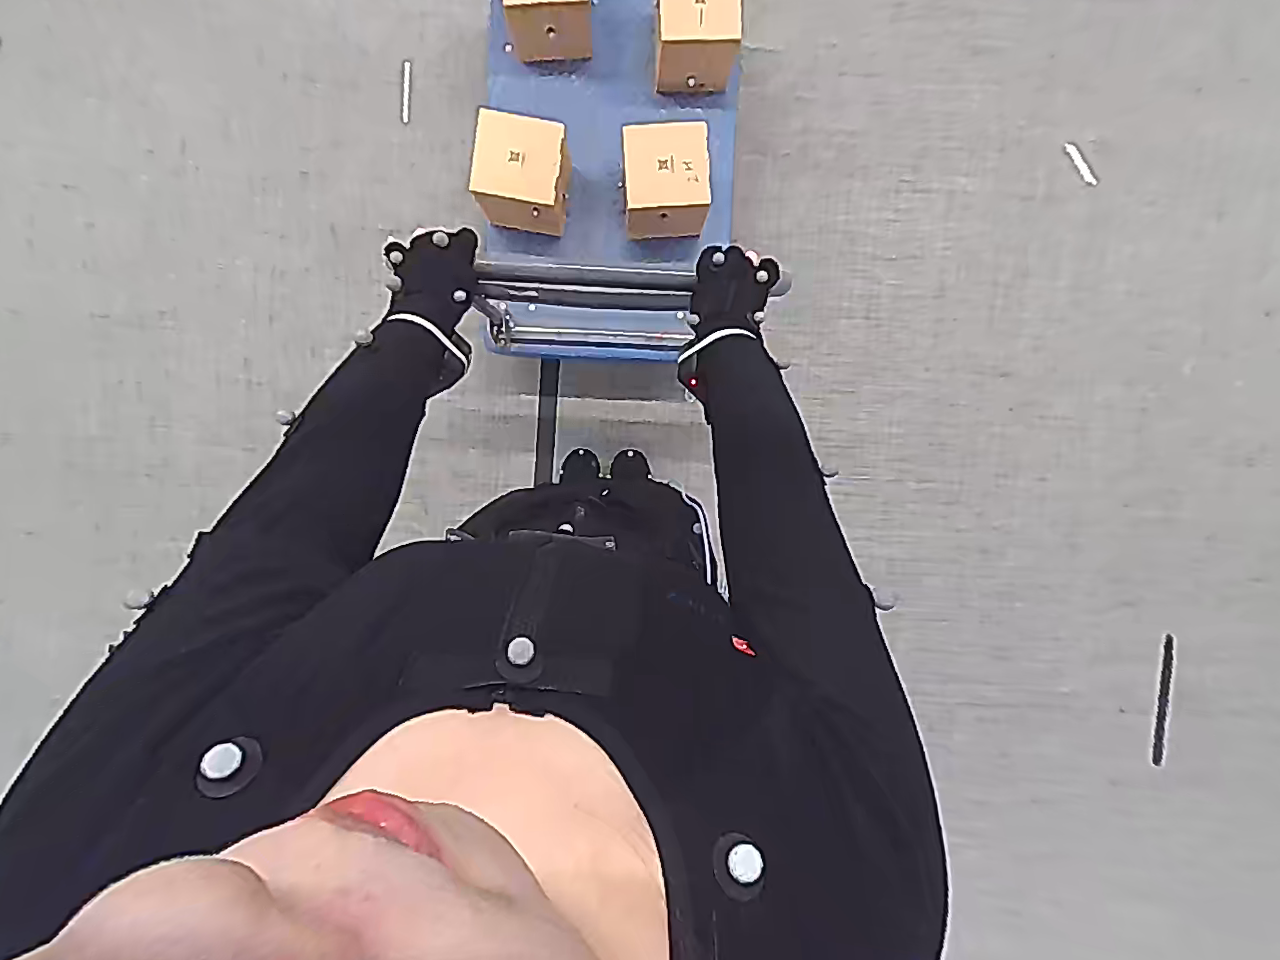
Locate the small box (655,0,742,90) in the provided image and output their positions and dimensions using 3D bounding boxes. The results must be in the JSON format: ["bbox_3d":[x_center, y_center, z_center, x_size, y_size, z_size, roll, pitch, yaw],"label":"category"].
[{"bbox_3d":[0.119,-0.976,1.151,0.168,0.176,0.179,-2,95,-1],"label":"small box"}]

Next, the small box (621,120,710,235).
[{"bbox_3d":[0.053,-0.646,1.175,0.179,0.176,0.168,-4,95,-1],"label":"small box"}]

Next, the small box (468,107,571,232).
[{"bbox_3d":[-0.252,-0.658,1.167,0.179,0.176,0.168,9,94,-4],"label":"small box"}]
